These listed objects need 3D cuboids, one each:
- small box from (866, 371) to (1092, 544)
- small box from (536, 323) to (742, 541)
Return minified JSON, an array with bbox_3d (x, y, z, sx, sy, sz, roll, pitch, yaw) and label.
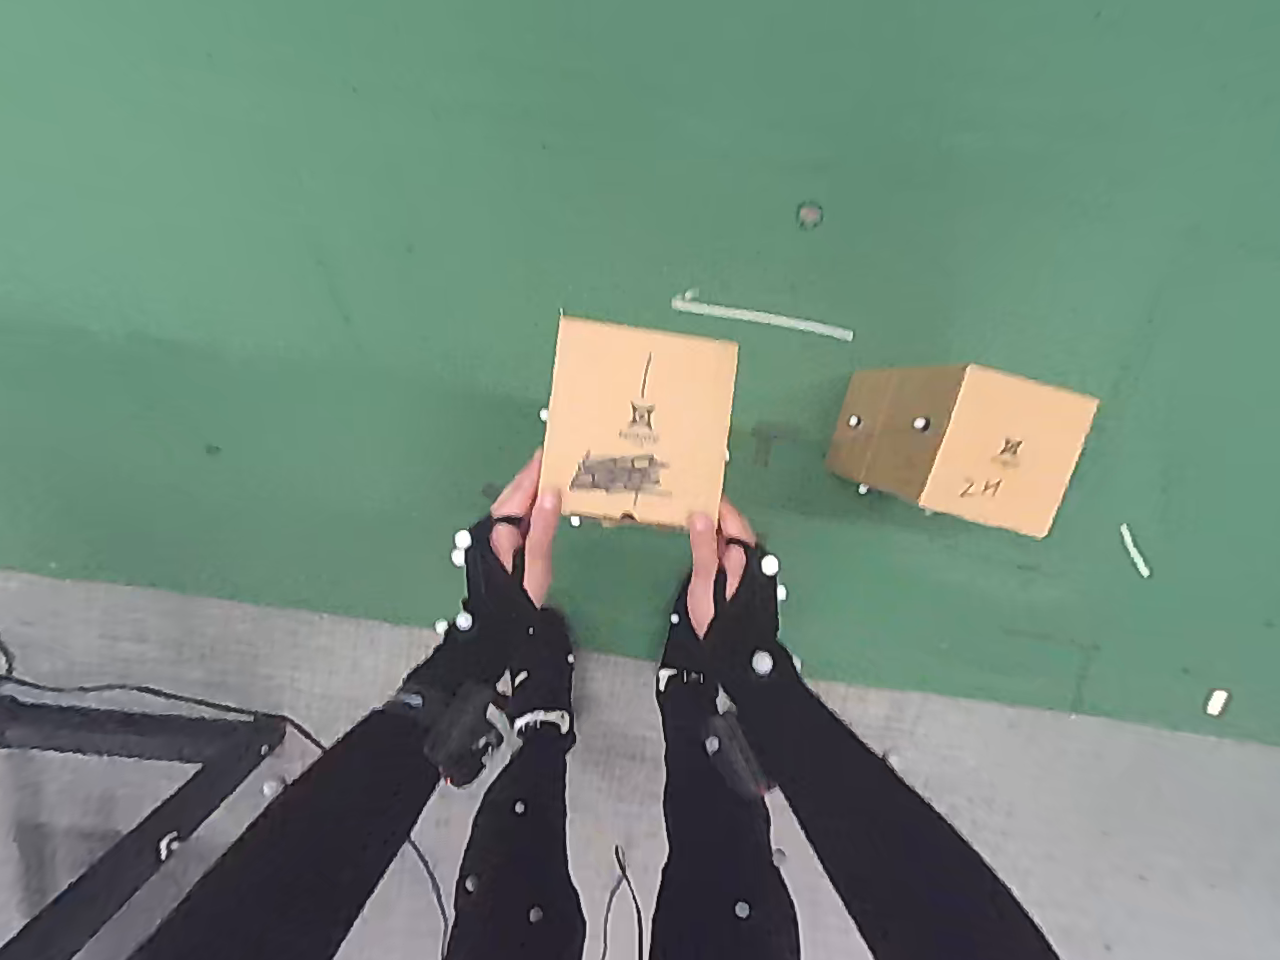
[{"bbox_3d":[0.431,-0.038,0.722,0.168,0.176,0.179,15,99,-3],"label":"small box"},{"bbox_3d":[-0.005,-0.040,0.557,0.168,0.176,0.179,8,87,-5],"label":"small box"}]
